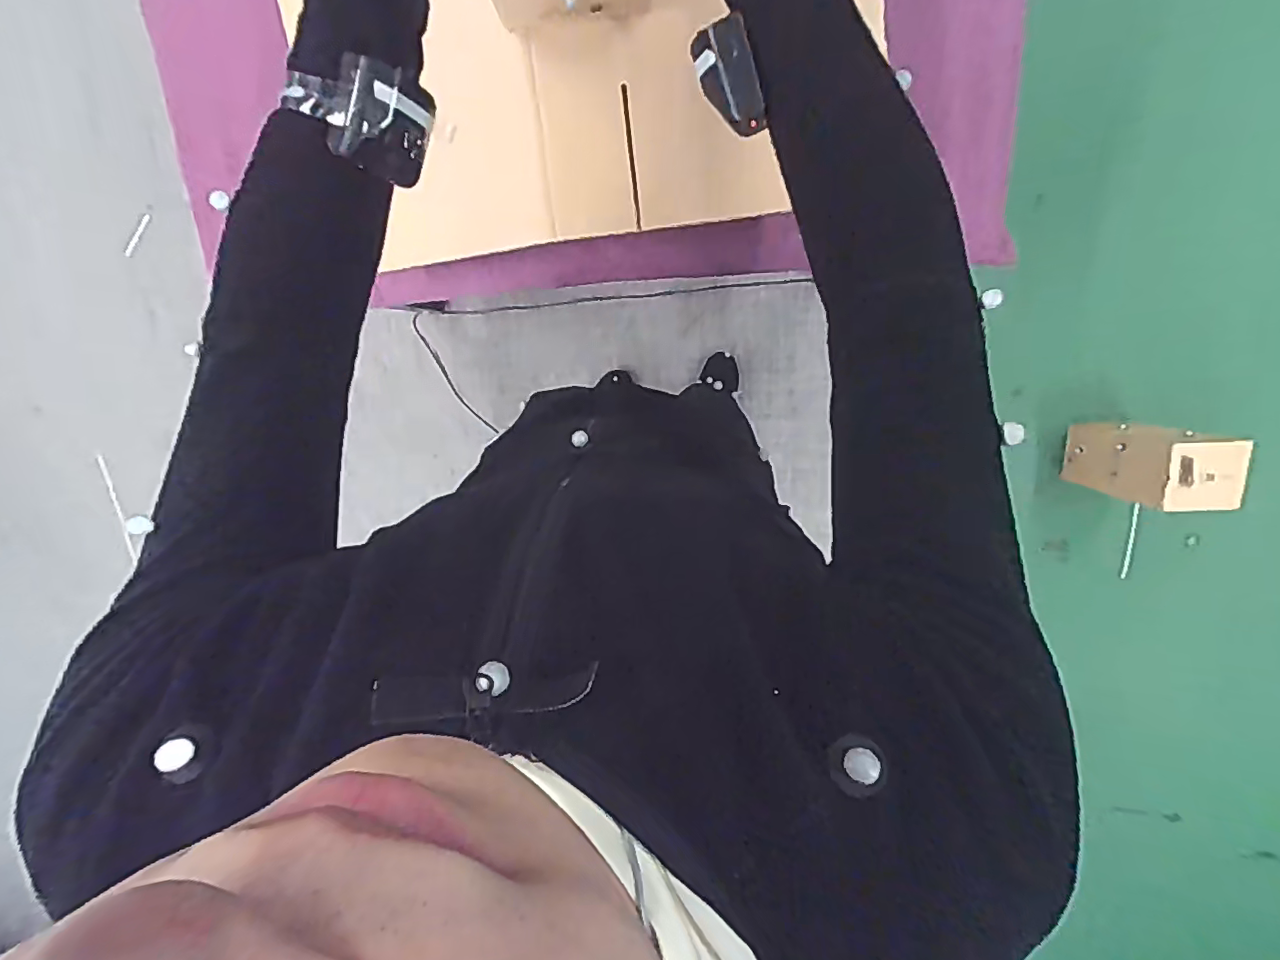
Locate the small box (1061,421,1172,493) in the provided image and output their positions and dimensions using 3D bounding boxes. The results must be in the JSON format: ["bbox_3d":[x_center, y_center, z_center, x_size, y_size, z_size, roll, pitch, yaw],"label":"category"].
[{"bbox_3d":[1.318,-0.068,1.490,0.179,0.176,0.168,-3,103,4],"label":"small box"}]

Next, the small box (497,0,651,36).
[{"bbox_3d":[-0.076,-0.562,0.497,0.168,0.176,0.179,-6,104,2],"label":"small box"}]

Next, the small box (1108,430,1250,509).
[{"bbox_3d":[1.311,-0.030,1.331,0.179,0.176,0.168,-3,104,2],"label":"small box"}]
